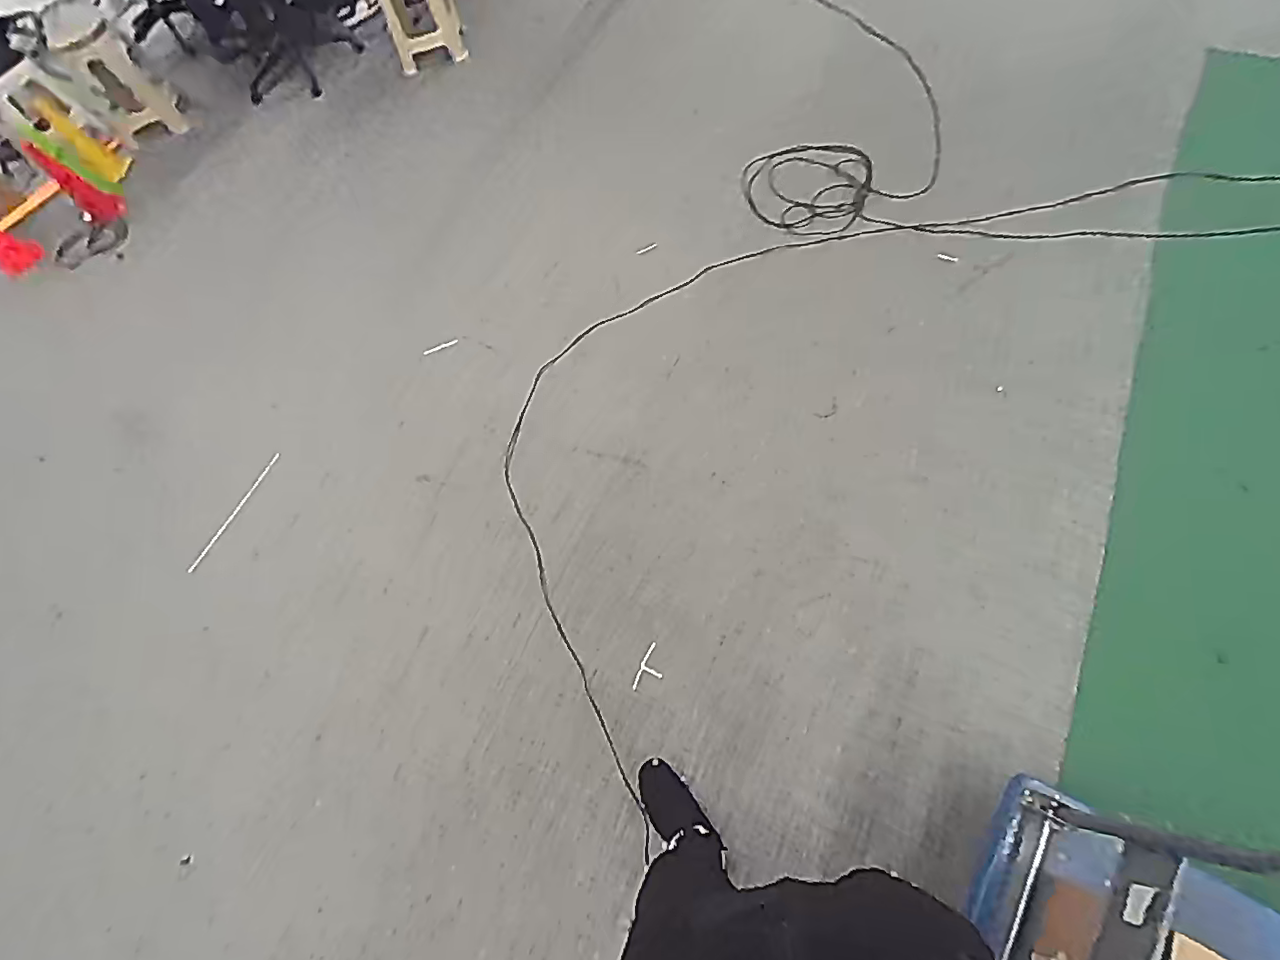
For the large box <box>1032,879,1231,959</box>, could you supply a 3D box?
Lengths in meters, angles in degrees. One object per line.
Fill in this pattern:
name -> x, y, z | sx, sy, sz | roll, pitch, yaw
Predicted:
large box -> 0.878, 0.915, 0.818 | 0.408, 0.320, 0.320 | 27, 73, 18
